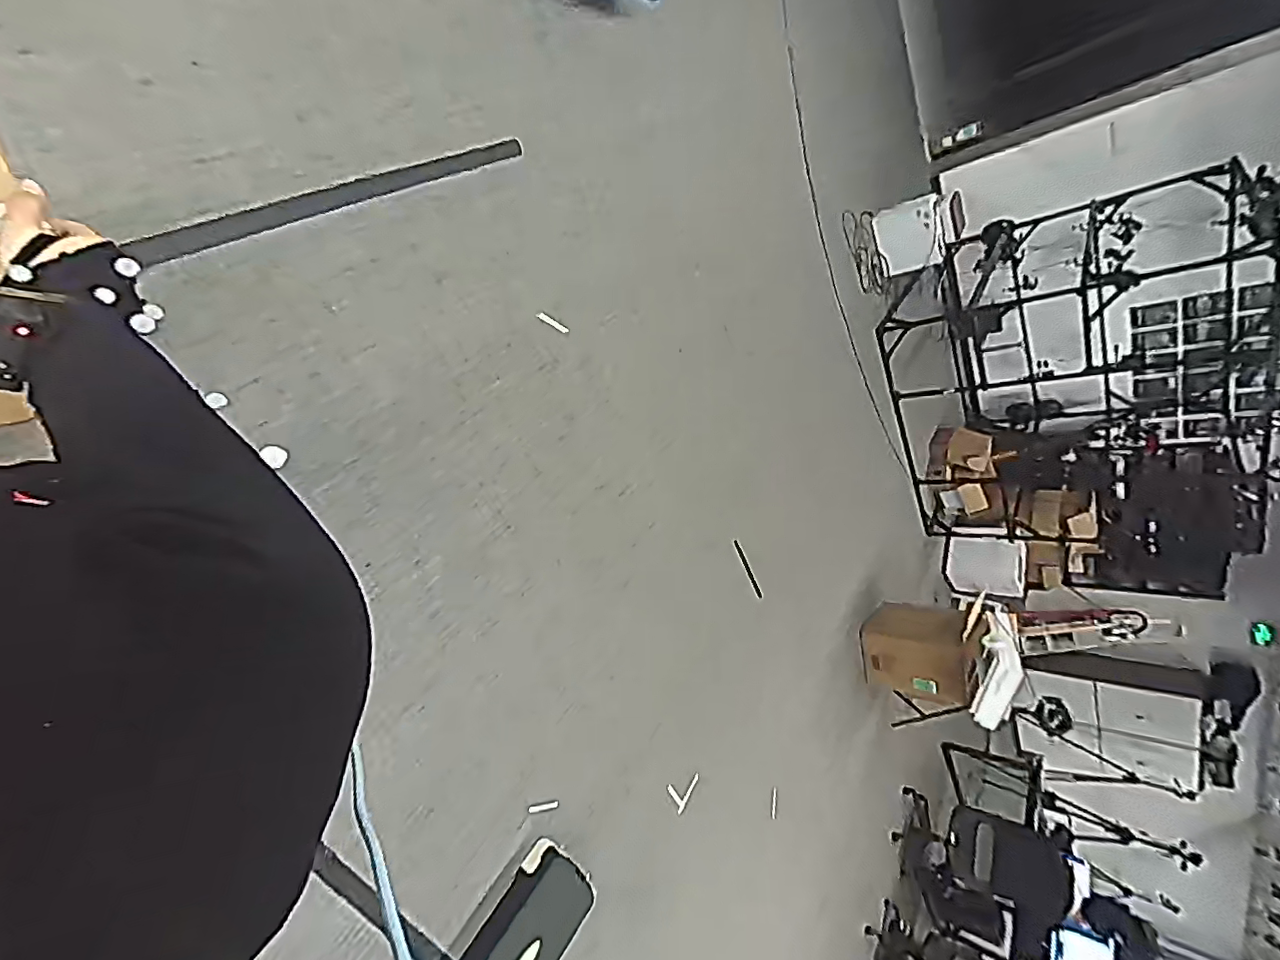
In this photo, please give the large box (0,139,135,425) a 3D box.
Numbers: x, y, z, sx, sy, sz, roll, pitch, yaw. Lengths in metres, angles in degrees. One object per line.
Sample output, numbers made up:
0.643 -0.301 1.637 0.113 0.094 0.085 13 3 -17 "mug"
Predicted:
-0.752 -0.165 0.432 0.408 0.320 0.320 -33 123 -41 "large box"
